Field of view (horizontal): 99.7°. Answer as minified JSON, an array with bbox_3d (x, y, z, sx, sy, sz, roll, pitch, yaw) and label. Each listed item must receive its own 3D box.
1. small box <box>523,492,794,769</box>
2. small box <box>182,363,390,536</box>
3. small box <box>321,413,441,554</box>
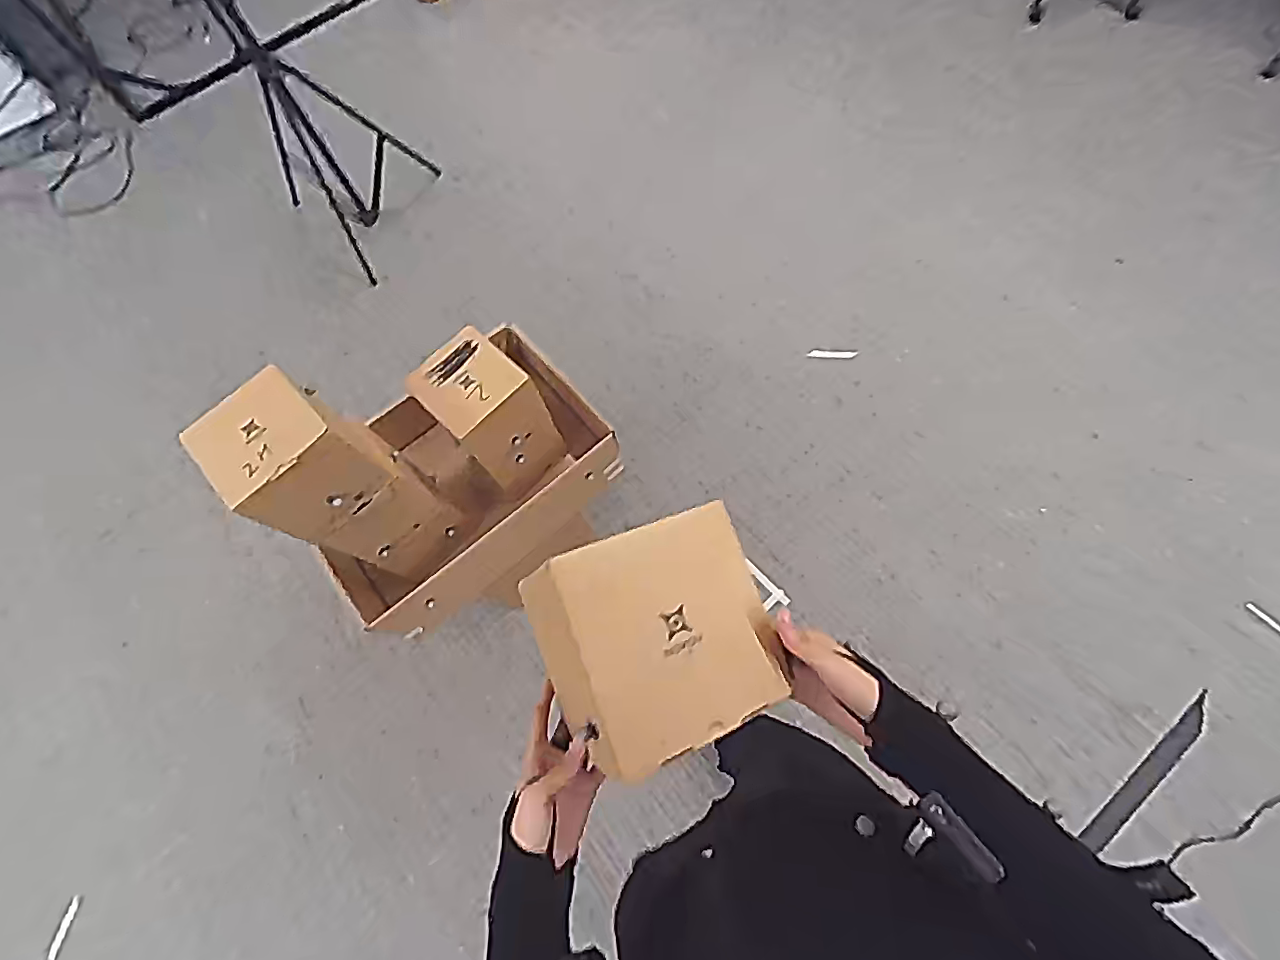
[{"bbox_3d":[0.002,0.131,0.505,0.168,0.176,0.179,-17,82,-25],"label":"small box"},{"bbox_3d":[-0.533,-0.039,0.836,0.179,0.176,0.168,41,78,20],"label":"small box"},{"bbox_3d":[-0.501,0.018,0.988,0.168,0.176,0.179,-43,69,-11],"label":"small box"}]
